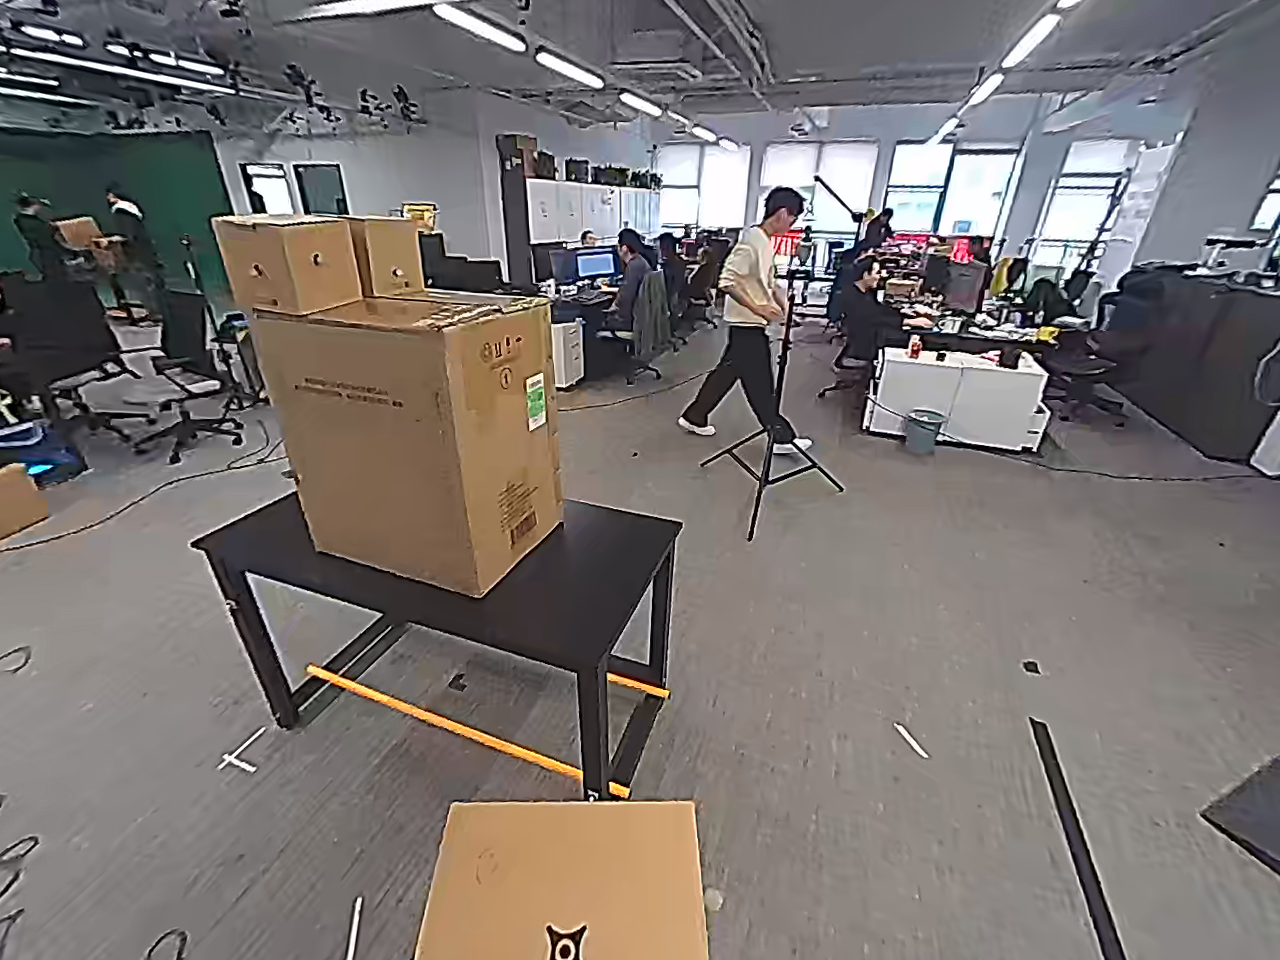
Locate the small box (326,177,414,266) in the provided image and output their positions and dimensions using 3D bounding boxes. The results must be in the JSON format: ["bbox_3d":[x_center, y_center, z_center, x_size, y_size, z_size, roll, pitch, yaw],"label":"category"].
[{"bbox_3d":[-0.641,-0.577,1.216,0.179,0.176,0.168,12,28,18],"label":"small box"}]

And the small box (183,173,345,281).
[{"bbox_3d":[-0.706,-0.488,1.041,0.168,0.176,0.179,11,32,12],"label":"small box"}]

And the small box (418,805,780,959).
[{"bbox_3d":[-0.020,0.293,0.270,0.168,0.176,0.179,0,38,-3],"label":"small box"}]
